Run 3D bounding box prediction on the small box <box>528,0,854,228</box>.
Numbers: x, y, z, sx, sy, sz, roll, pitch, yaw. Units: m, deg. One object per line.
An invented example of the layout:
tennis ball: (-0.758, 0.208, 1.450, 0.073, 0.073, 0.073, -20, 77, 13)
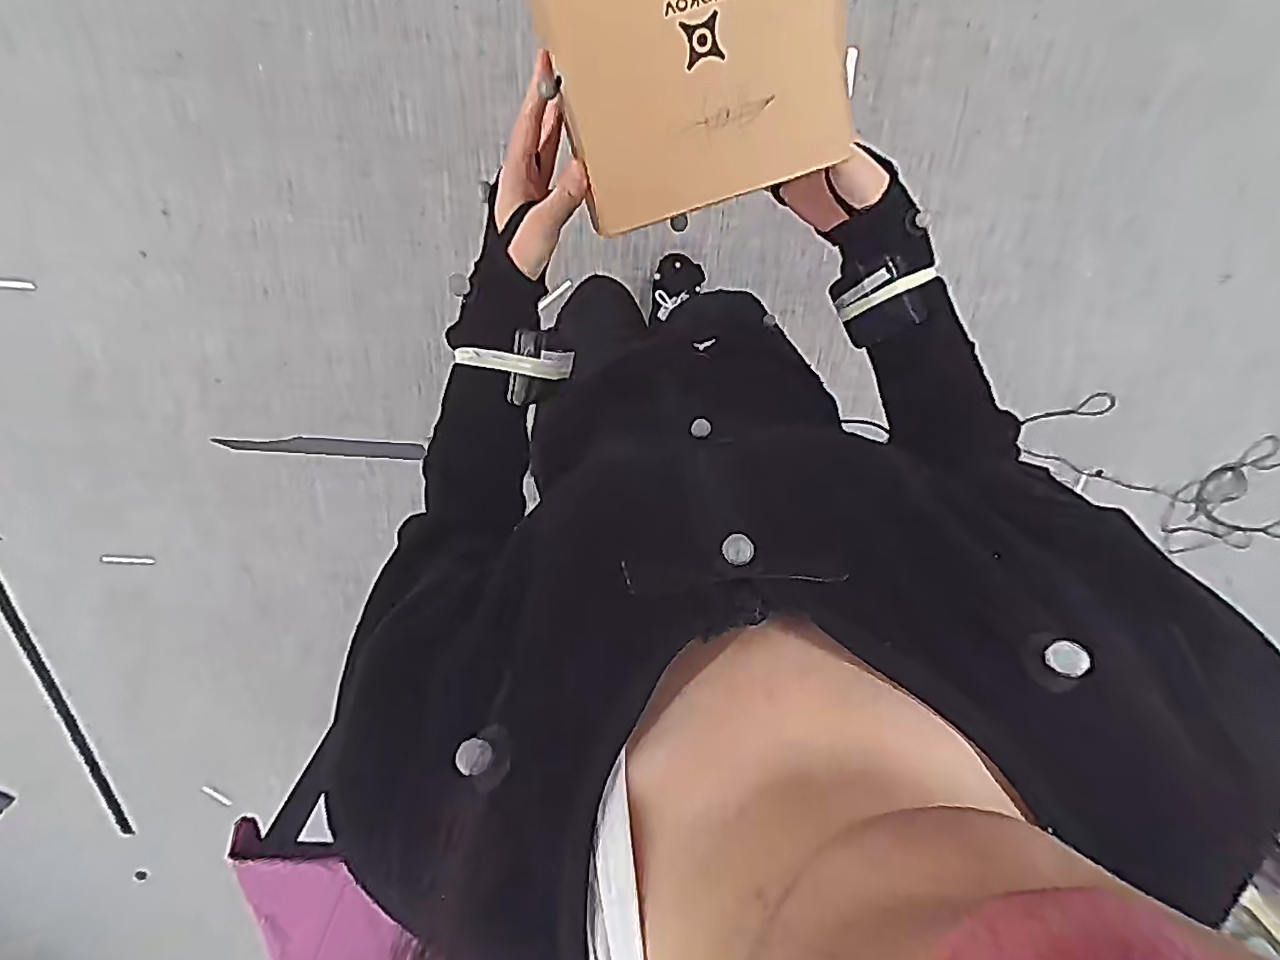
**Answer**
small box: (0.023, -0.288, 0.374, 0.168, 0.176, 0.179, -18, 116, 0)
